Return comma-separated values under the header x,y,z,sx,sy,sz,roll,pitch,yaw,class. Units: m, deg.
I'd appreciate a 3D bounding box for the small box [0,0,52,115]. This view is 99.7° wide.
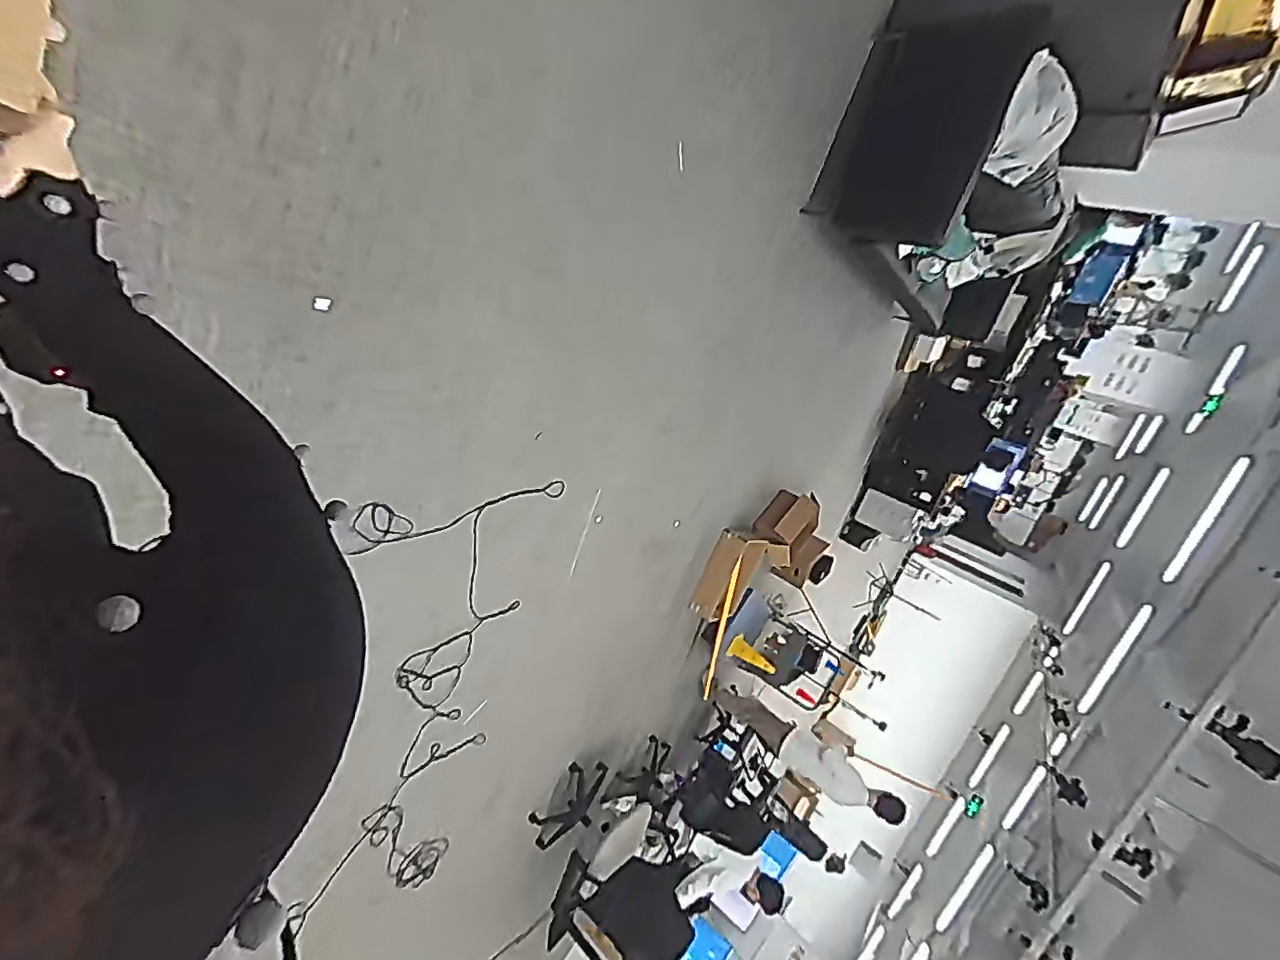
x,y,z,sx,sy,sz,roll,pitch,yaw,class
-0.427,-0.312,0.268,0.179,0.176,0.168,7,101,-56,small box
